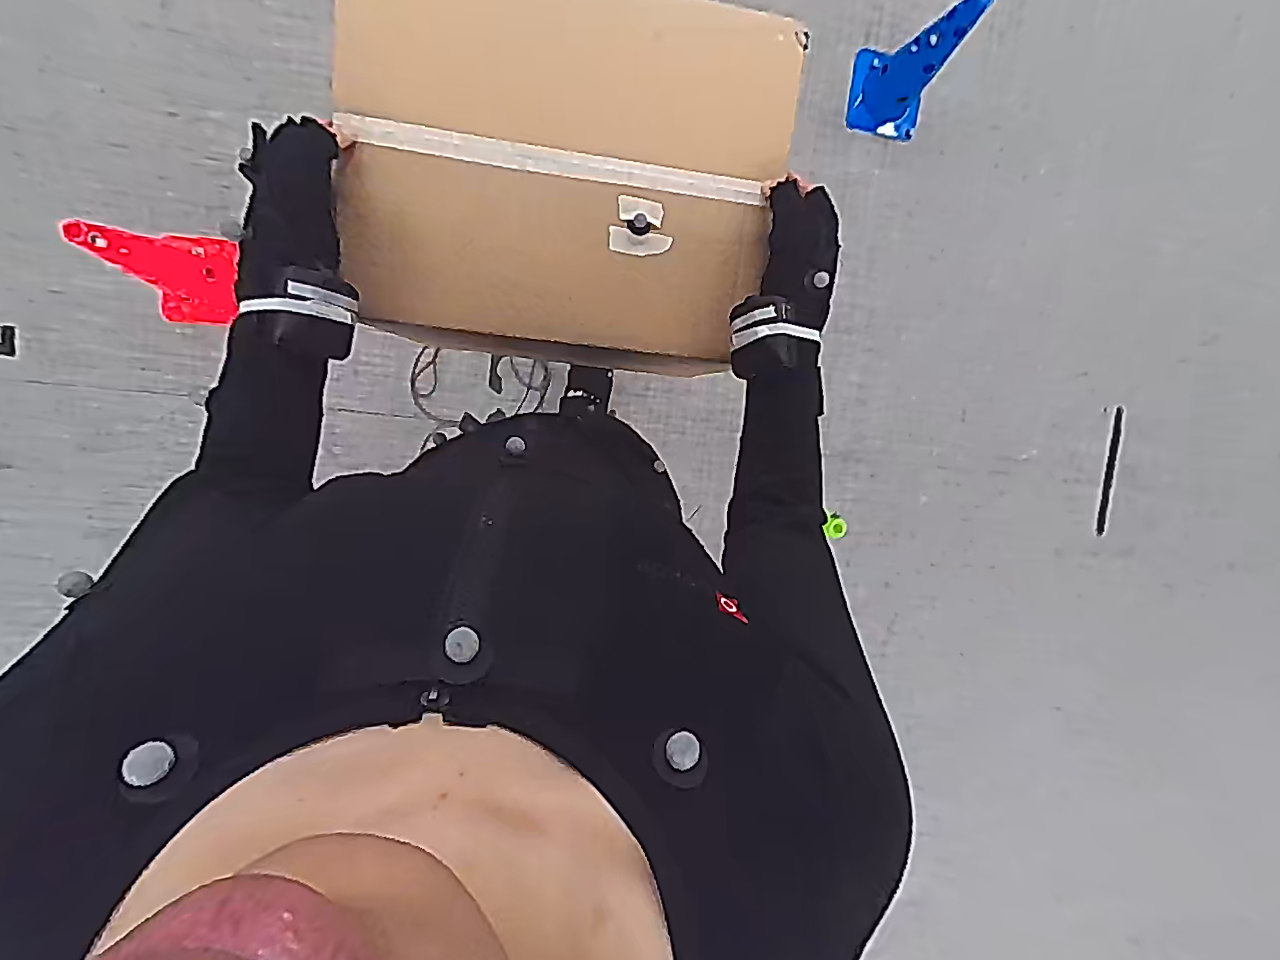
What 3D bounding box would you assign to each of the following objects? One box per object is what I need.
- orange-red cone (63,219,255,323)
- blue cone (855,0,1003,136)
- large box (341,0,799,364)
[{"bbox_3d":[-1.003,-0.456,1.114,0.198,0.360,0.199,3,97,-7],"label":"orange-red cone"},{"bbox_3d":[0.691,-1.011,1.277,0.192,0.380,0.193,9,96,-9],"label":"blue cone"},{"bbox_3d":[-0.081,-0.319,0.638,0.408,0.320,0.320,5,99,-9],"label":"large box"}]
